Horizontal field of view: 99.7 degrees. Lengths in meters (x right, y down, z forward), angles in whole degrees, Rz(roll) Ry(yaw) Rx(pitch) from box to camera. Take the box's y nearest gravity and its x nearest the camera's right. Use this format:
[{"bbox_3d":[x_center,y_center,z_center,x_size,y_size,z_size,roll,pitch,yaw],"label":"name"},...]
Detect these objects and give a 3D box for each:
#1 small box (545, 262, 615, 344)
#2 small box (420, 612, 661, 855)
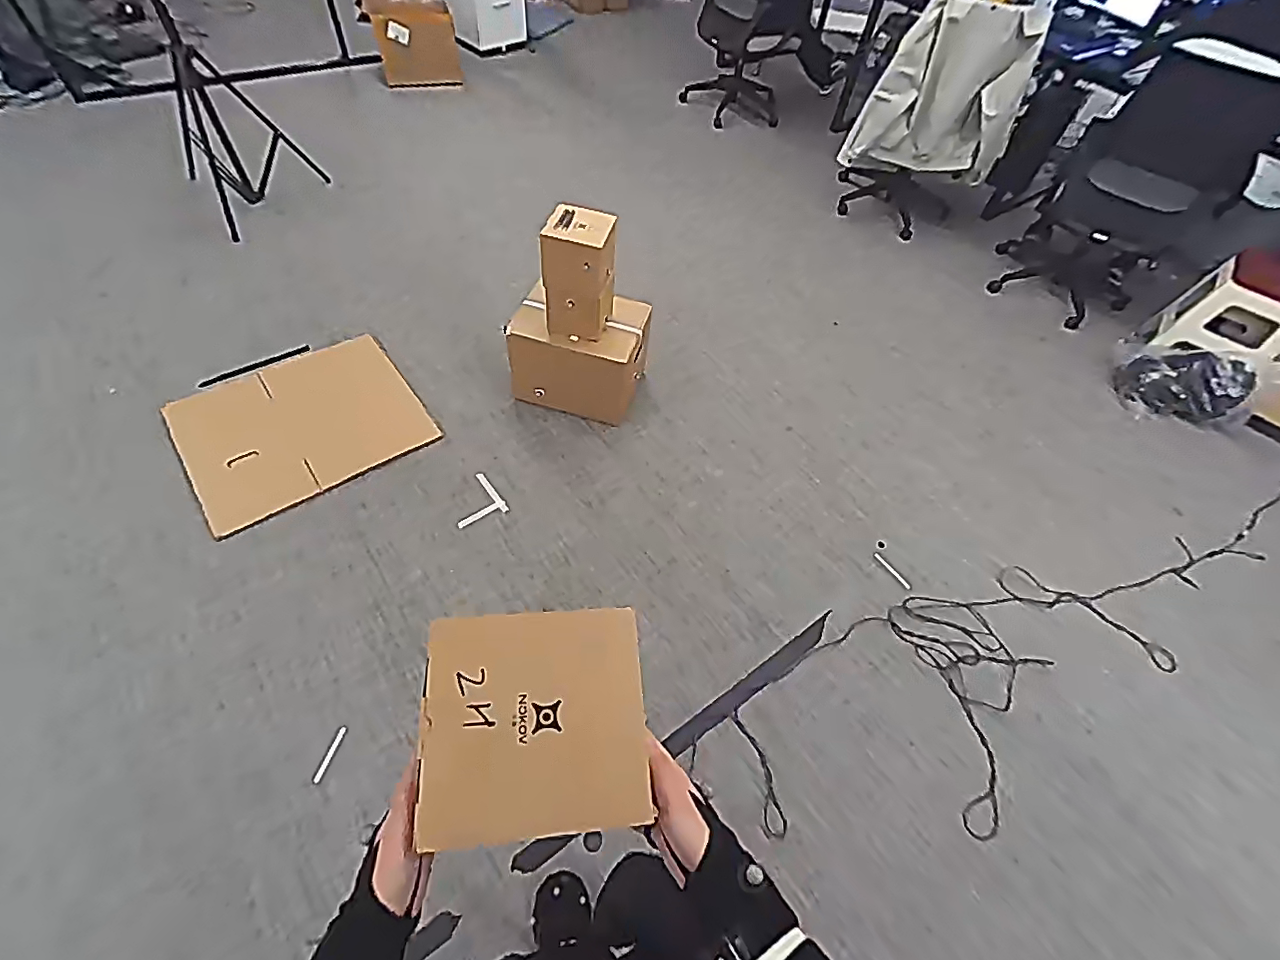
[{"bbox_3d":[-0.186,-0.552,1.701,0.179,0.176,0.168,14,56,3],"label":"small box"},{"bbox_3d":[-0.086,0.225,0.498,0.179,0.176,0.168,-2,63,-9],"label":"small box"}]
